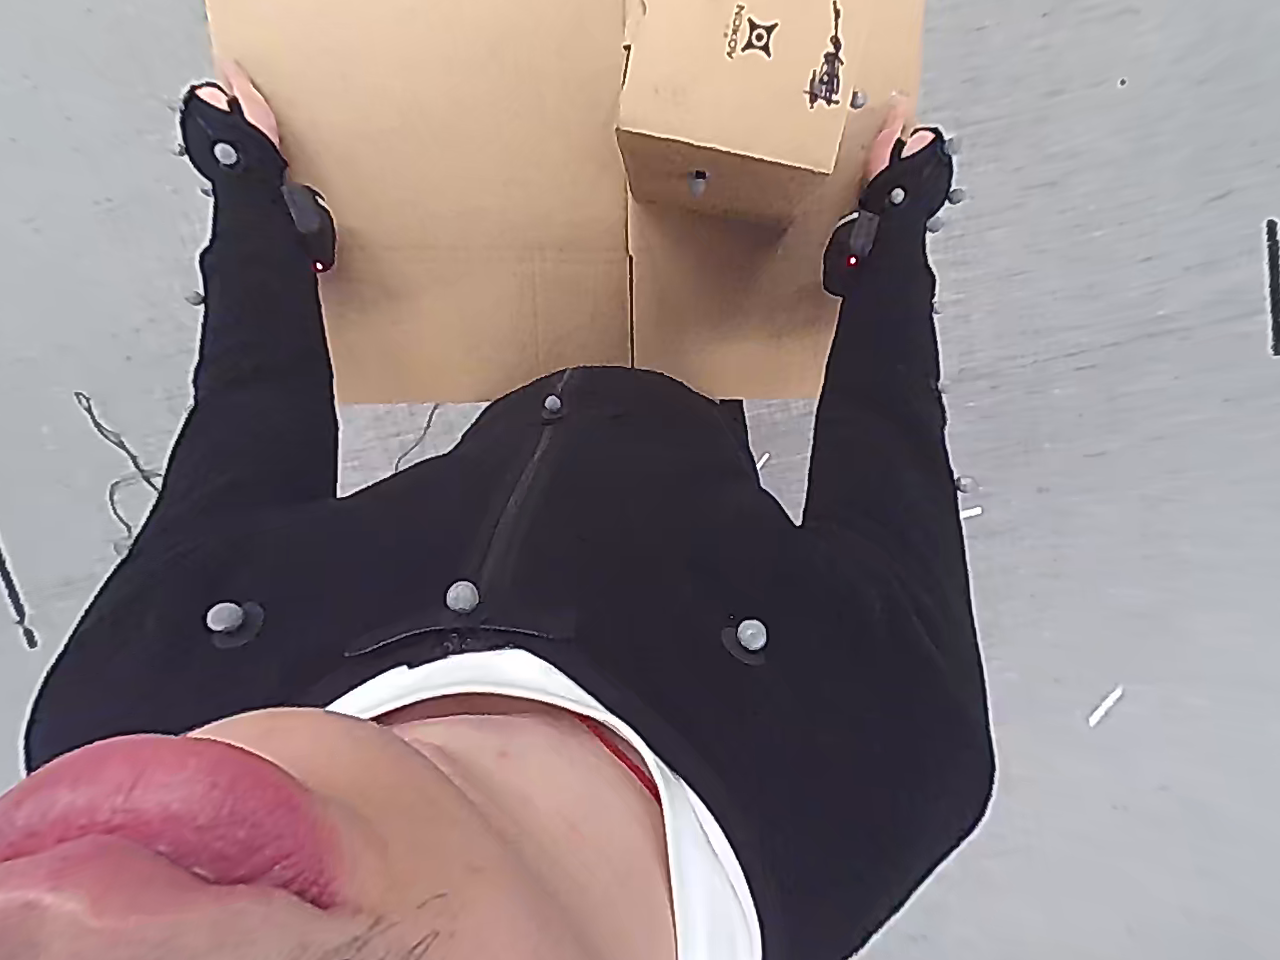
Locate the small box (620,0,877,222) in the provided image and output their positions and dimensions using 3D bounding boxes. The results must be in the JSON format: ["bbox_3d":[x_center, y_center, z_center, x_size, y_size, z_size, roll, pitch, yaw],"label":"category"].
[{"bbox_3d":[0.092,-0.354,0.491,0.179,0.176,0.168,13,102,2],"label":"small box"}]
